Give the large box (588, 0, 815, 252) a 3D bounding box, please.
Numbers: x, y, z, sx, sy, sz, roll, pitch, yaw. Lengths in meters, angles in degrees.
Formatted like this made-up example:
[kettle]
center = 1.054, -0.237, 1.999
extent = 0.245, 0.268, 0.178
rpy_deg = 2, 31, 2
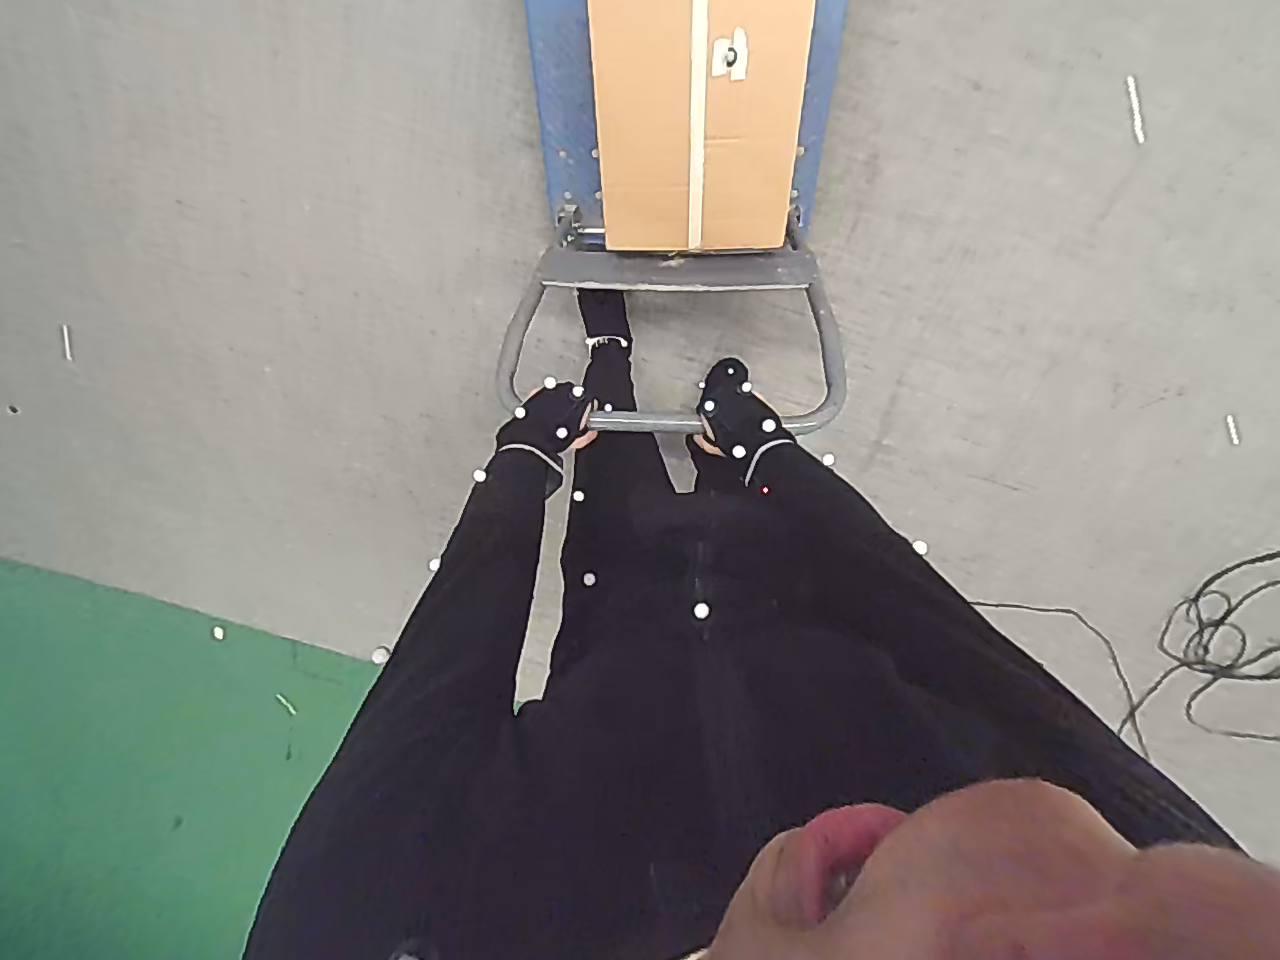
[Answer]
[large box]
center = 0.102, -0.647, 0.932
extent = 0.320, 0.320, 0.408
rpy_deg = 1, 129, 5
